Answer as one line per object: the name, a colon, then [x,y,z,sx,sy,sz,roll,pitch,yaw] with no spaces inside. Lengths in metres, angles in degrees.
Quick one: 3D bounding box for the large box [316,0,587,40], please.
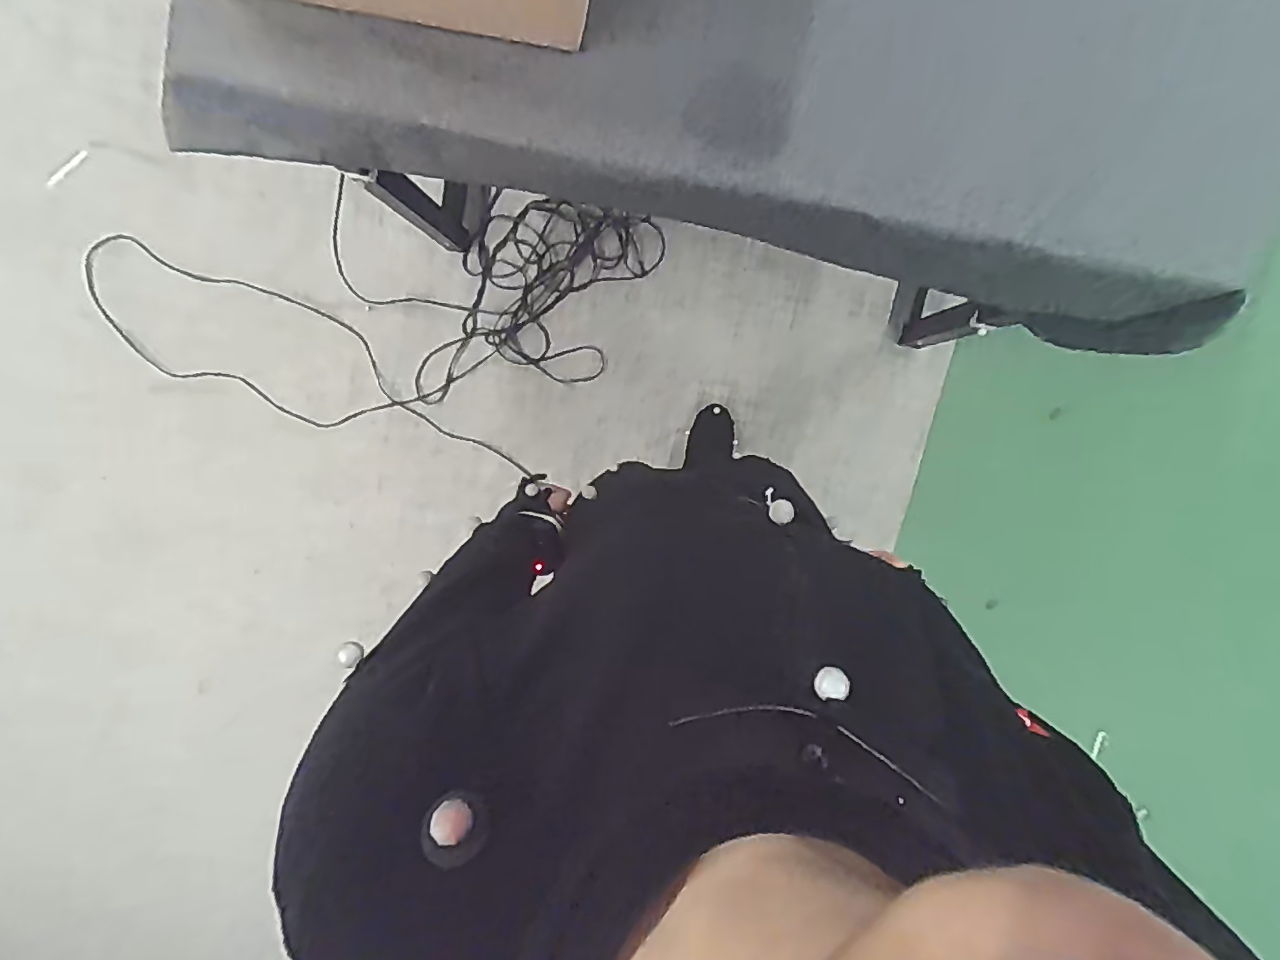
large box: [-0.235,-0.628,0.414,0.408,0.320,0.320,10,98,-1]
